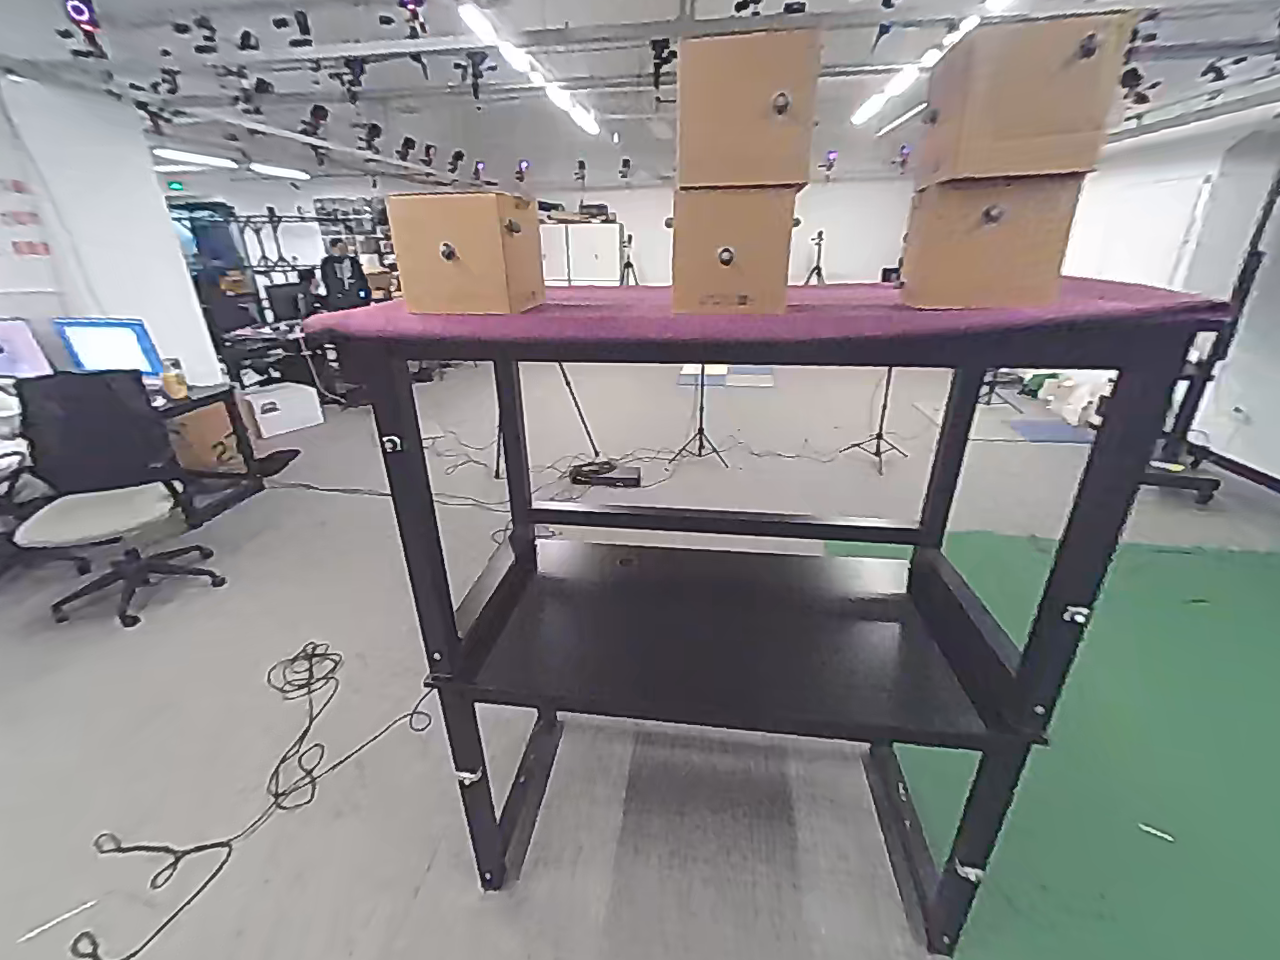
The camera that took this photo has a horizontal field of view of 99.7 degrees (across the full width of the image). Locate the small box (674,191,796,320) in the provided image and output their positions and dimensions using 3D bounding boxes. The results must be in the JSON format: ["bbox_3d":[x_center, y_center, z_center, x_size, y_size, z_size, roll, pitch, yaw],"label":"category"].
[{"bbox_3d":[0.144,-0.343,0.834,0.168,0.176,0.179,5,24,9],"label":"small box"}]

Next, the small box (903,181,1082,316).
[{"bbox_3d":[0.506,-0.339,0.811,0.179,0.176,0.168,4,23,13],"label":"small box"}]

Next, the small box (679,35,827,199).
[{"bbox_3d":[0.151,-0.486,0.756,0.179,0.176,0.168,3,23,10],"label":"small box"}]

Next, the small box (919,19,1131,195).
[{"bbox_3d":[0.498,-0.484,0.737,0.179,0.176,0.168,3,22,9],"label":"small box"}]
